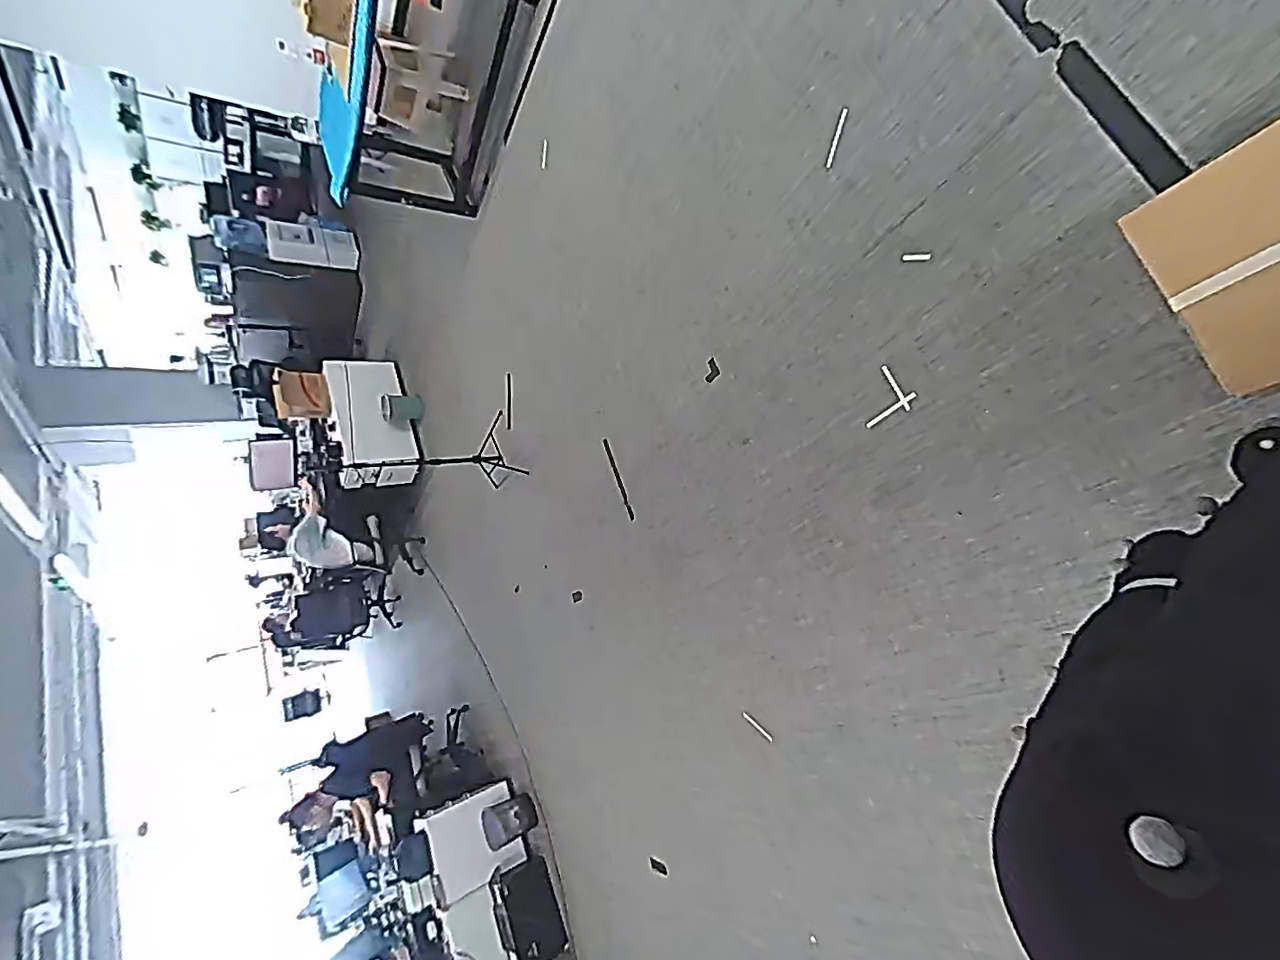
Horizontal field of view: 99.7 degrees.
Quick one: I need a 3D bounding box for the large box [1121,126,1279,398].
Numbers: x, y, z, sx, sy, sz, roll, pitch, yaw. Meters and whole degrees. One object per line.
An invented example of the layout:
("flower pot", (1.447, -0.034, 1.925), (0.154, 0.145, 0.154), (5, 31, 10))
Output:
("large box", (1.005, -0.342, 0.737), (0.408, 0.320, 0.320), (-36, 69, 49))
